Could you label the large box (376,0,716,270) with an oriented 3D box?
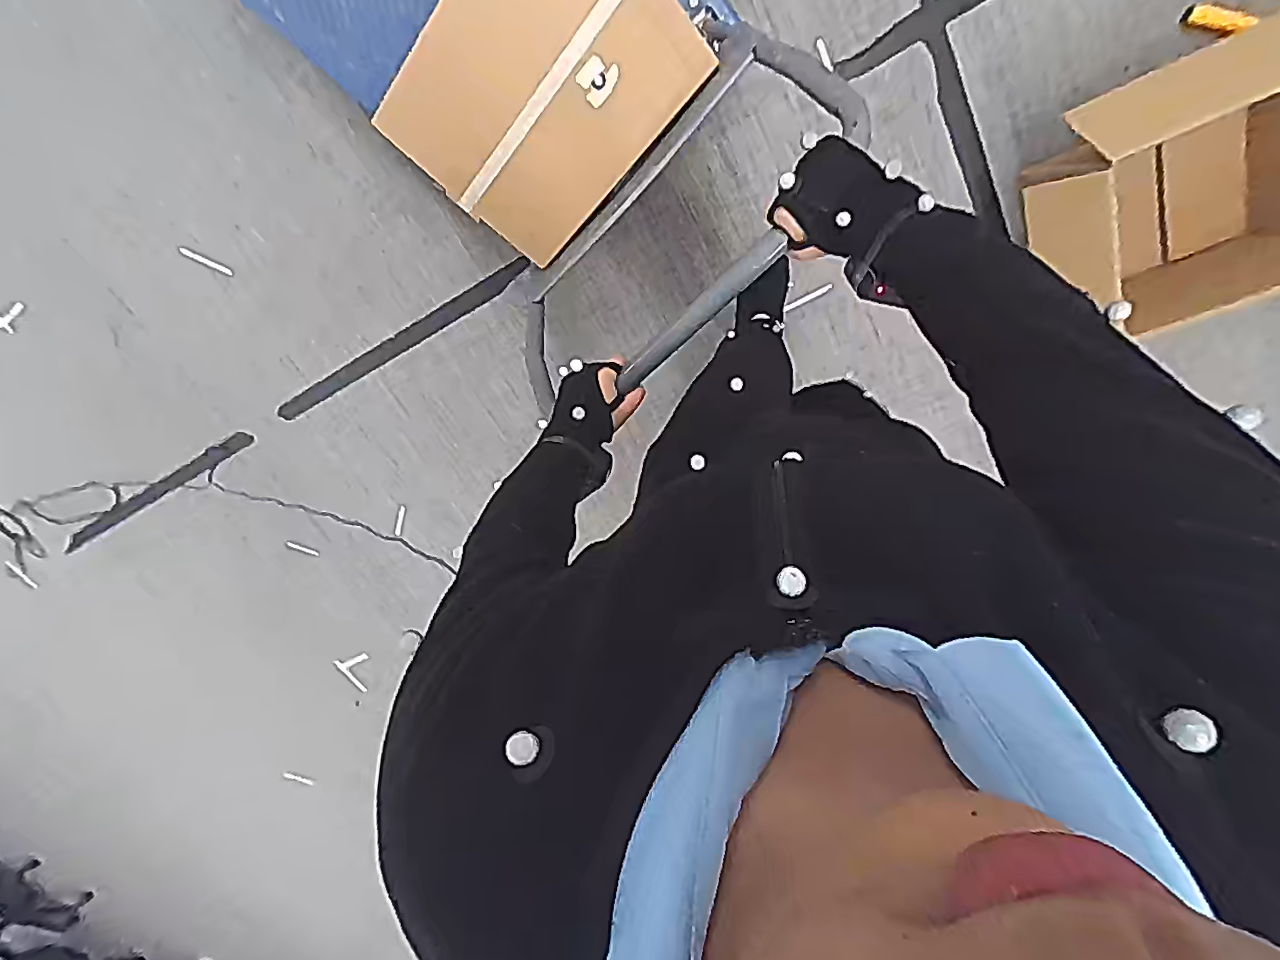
[{"bbox_3d":[-0.148,-0.637,0.869,0.320,0.320,0.408,34,120,-31],"label":"large box"}]
